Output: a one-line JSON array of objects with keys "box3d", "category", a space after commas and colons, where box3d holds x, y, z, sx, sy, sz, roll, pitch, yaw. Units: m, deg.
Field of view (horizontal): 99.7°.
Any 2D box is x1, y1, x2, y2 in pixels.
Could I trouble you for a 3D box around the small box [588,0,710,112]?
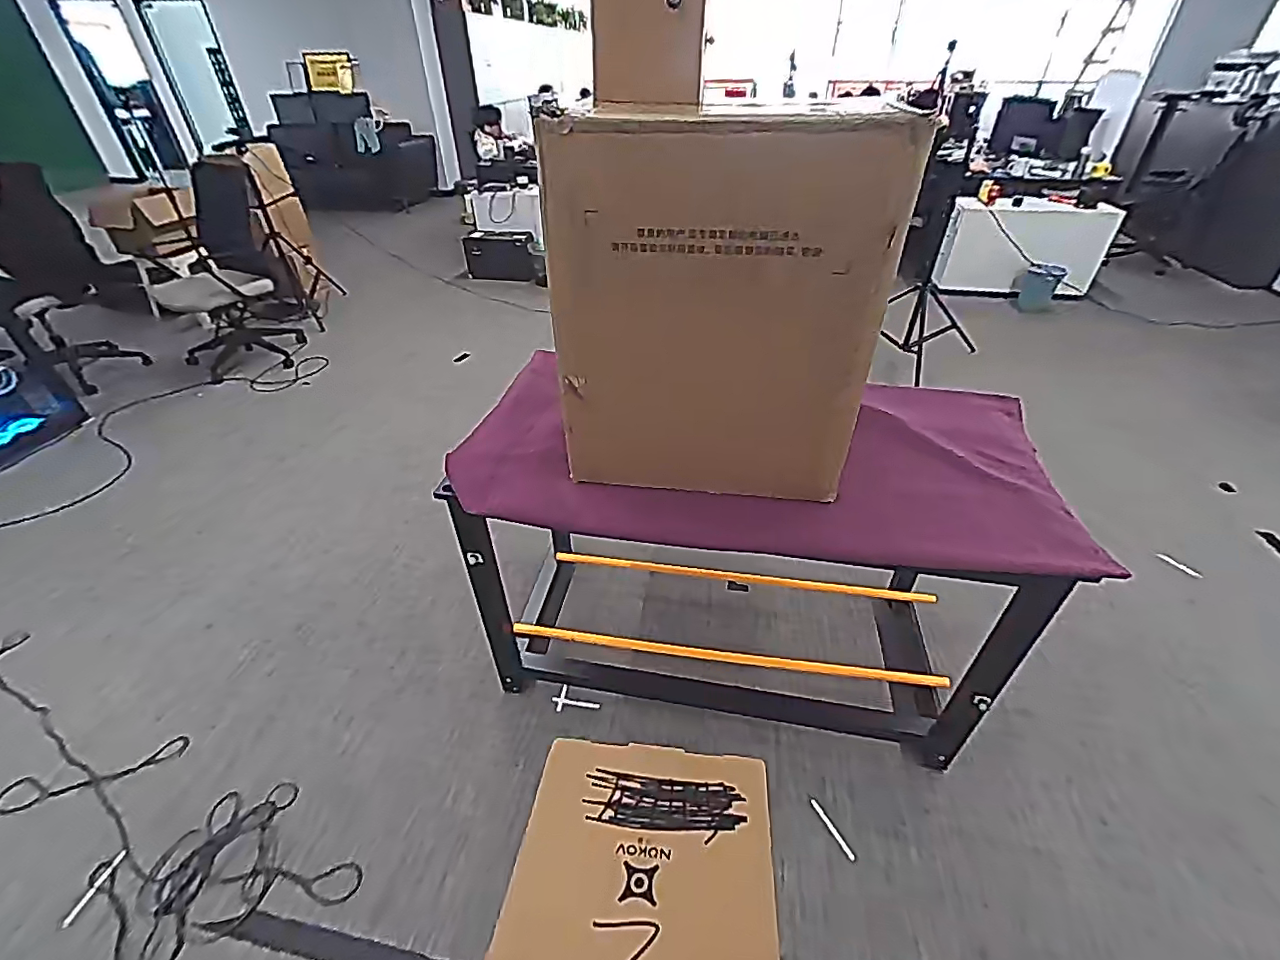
[{"box3d": [0.019, -0.709, 0.880, 0.179, 0.176, 0.168, 5, 37, 6], "category": "small box"}]
